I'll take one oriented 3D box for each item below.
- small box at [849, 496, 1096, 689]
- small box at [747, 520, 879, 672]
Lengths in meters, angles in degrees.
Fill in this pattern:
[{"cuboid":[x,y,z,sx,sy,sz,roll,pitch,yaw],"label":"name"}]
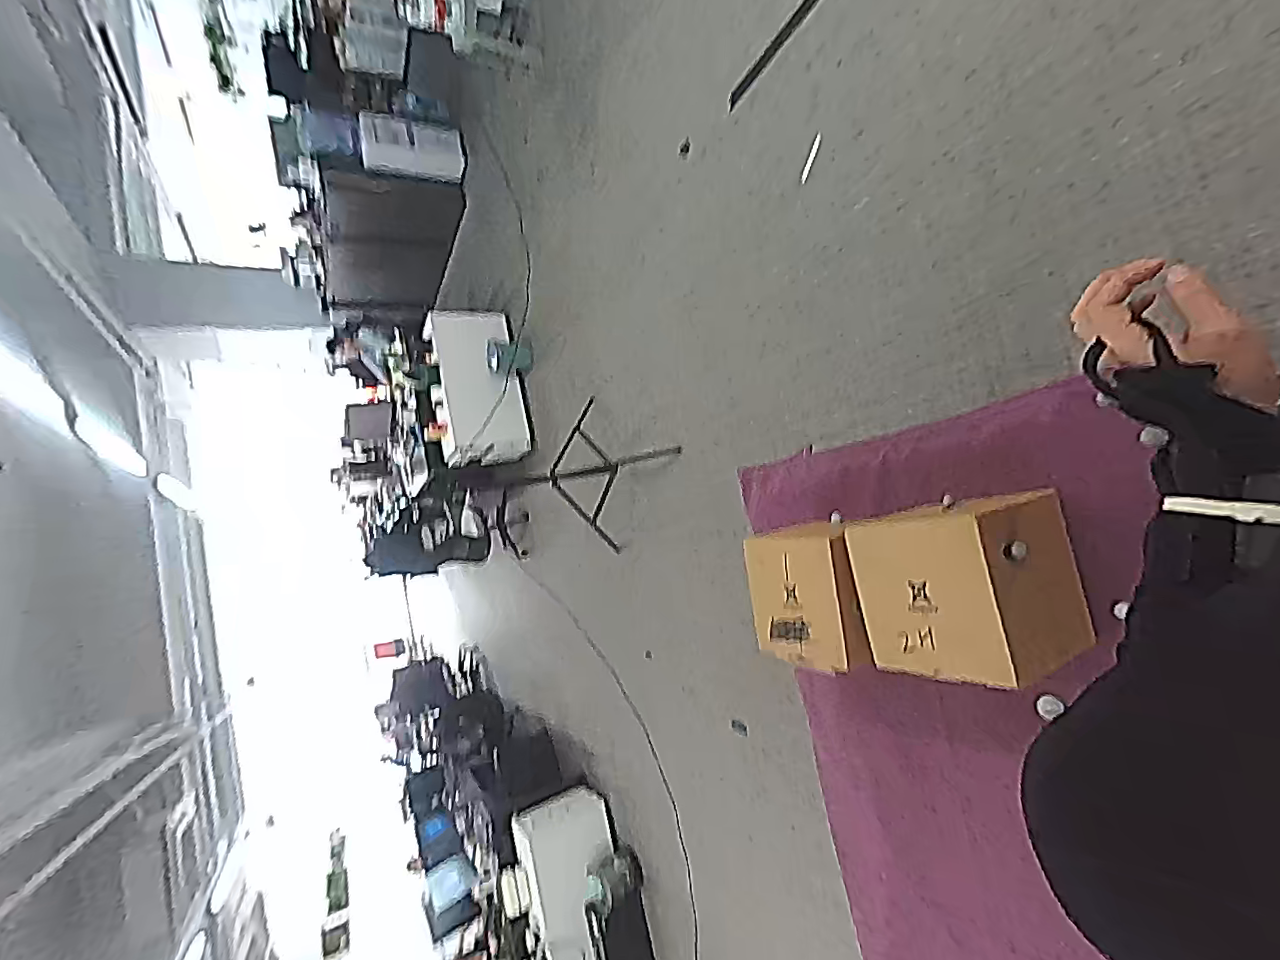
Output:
[{"cuboid":[0.383,0.118,0.633,0.168,0.176,0.179,-20,81,61],"label":"small box"},{"cuboid":[0.288,0.160,0.805,0.168,0.176,0.179,-11,87,58],"label":"small box"}]
